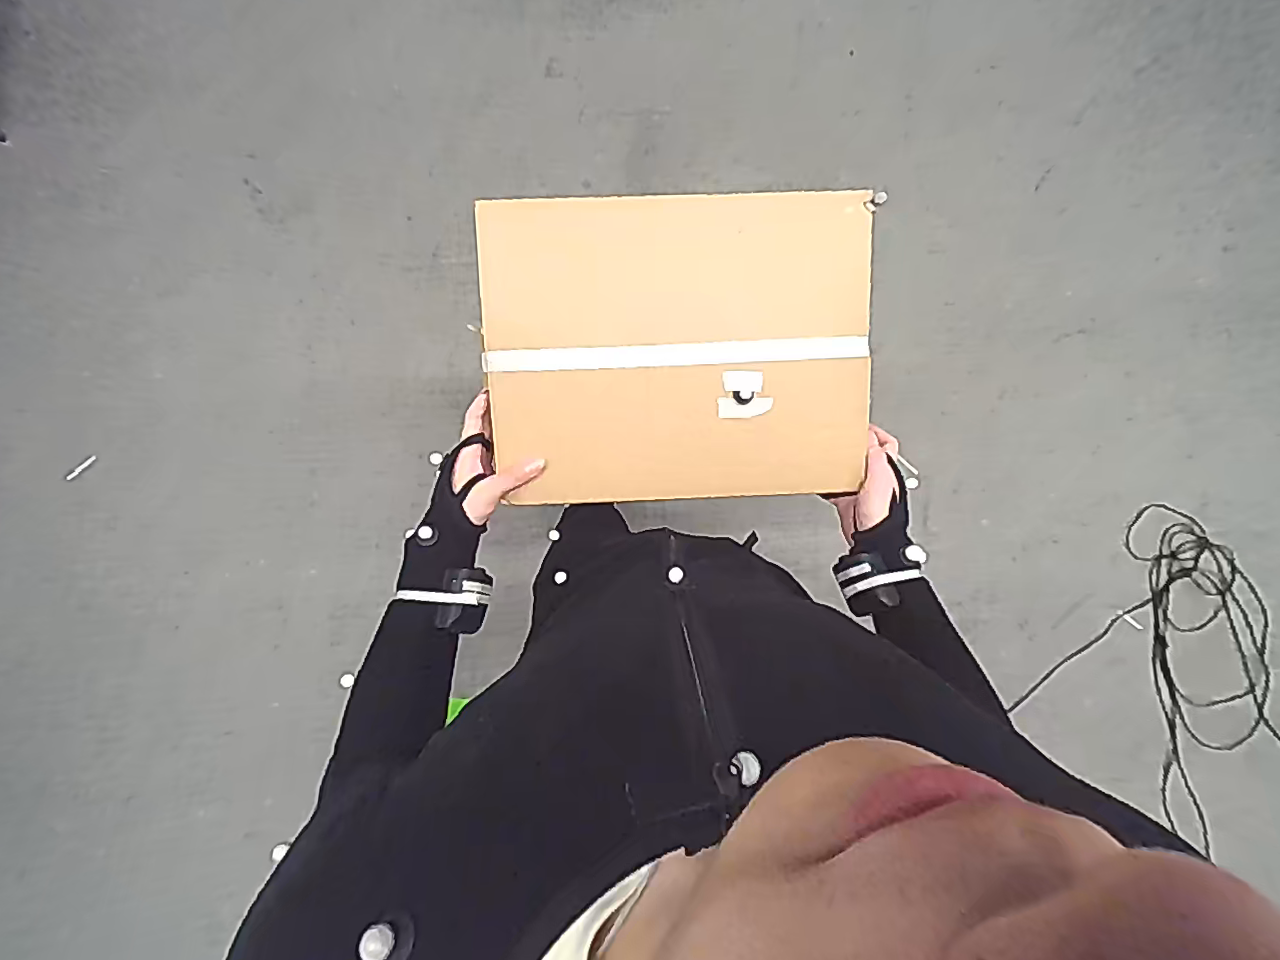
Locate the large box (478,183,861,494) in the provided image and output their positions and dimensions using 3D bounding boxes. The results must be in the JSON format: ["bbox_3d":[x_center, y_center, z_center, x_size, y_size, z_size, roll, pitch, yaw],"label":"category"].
[{"bbox_3d":[0.032,-0.168,0.724,0.408,0.320,0.320,-3,99,-2],"label":"large box"}]
